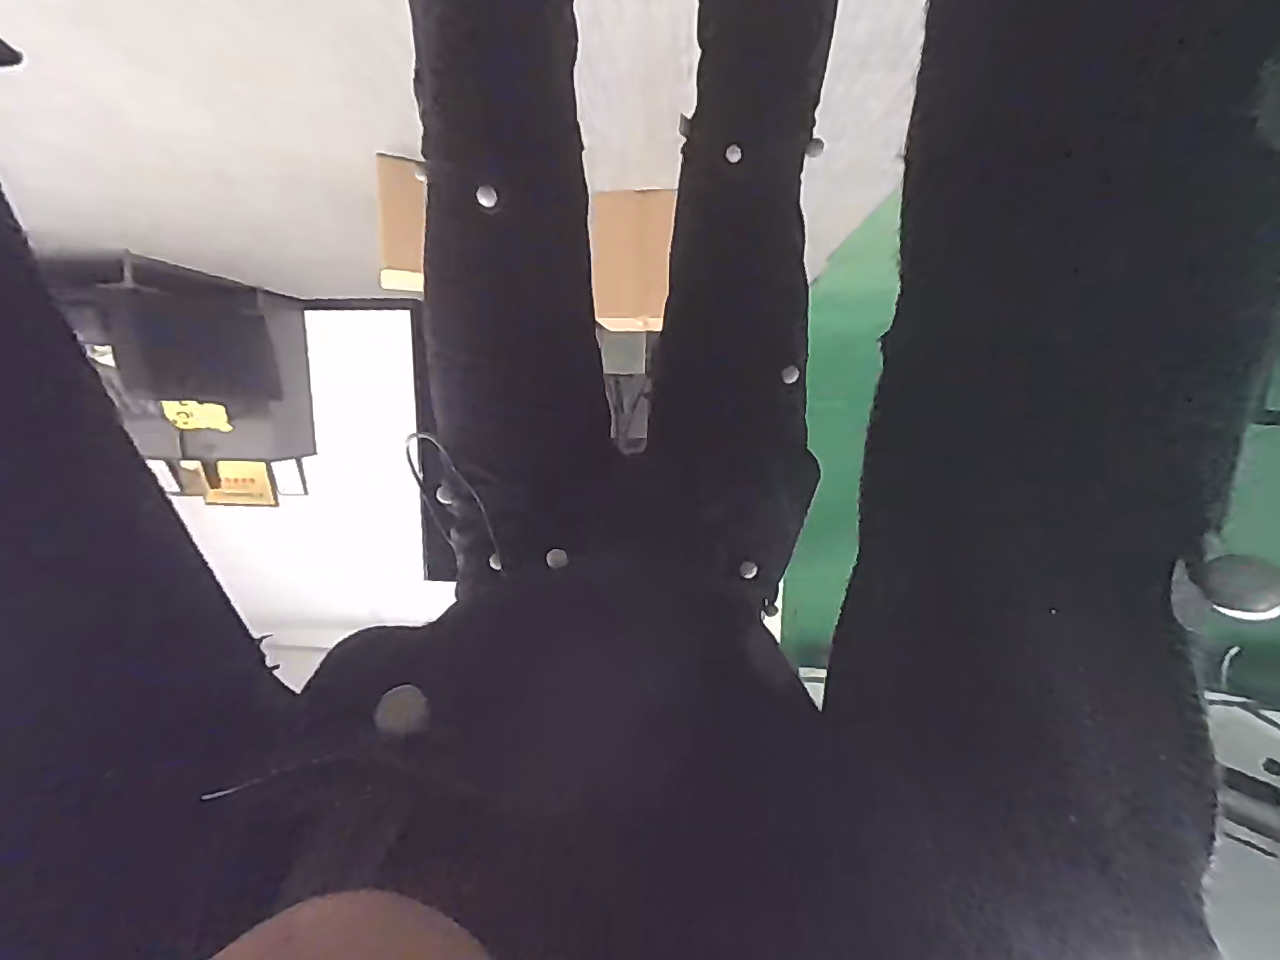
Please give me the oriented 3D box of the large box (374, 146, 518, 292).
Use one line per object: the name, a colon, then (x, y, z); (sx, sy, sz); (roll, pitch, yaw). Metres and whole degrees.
large box: (-0.615, -0.799, 1.714); (0.408, 0.320, 0.320); (-2, -171, -25)
